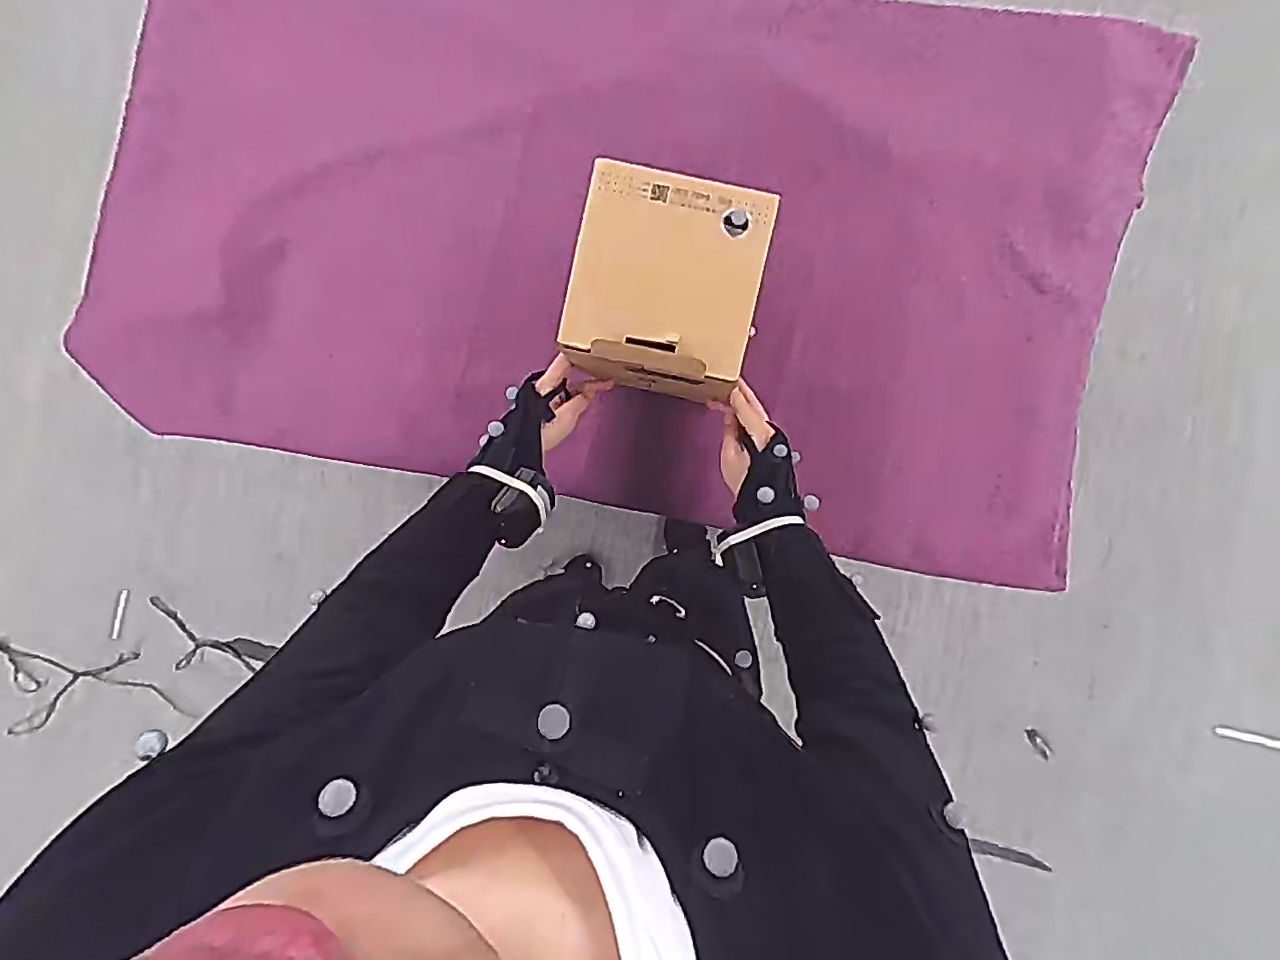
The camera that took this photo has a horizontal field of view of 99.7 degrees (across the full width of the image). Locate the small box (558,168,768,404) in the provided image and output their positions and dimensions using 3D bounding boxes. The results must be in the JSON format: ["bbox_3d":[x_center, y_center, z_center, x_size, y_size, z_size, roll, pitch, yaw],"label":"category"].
[{"bbox_3d":[0.023,-0.185,0.555,0.168,0.179,0.176,13,93,1],"label":"small box"}]

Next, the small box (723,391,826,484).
[{"bbox_3d":[0.279,-0.085,1.166,0.179,0.176,0.168,10,90,5],"label":"small box"}]
